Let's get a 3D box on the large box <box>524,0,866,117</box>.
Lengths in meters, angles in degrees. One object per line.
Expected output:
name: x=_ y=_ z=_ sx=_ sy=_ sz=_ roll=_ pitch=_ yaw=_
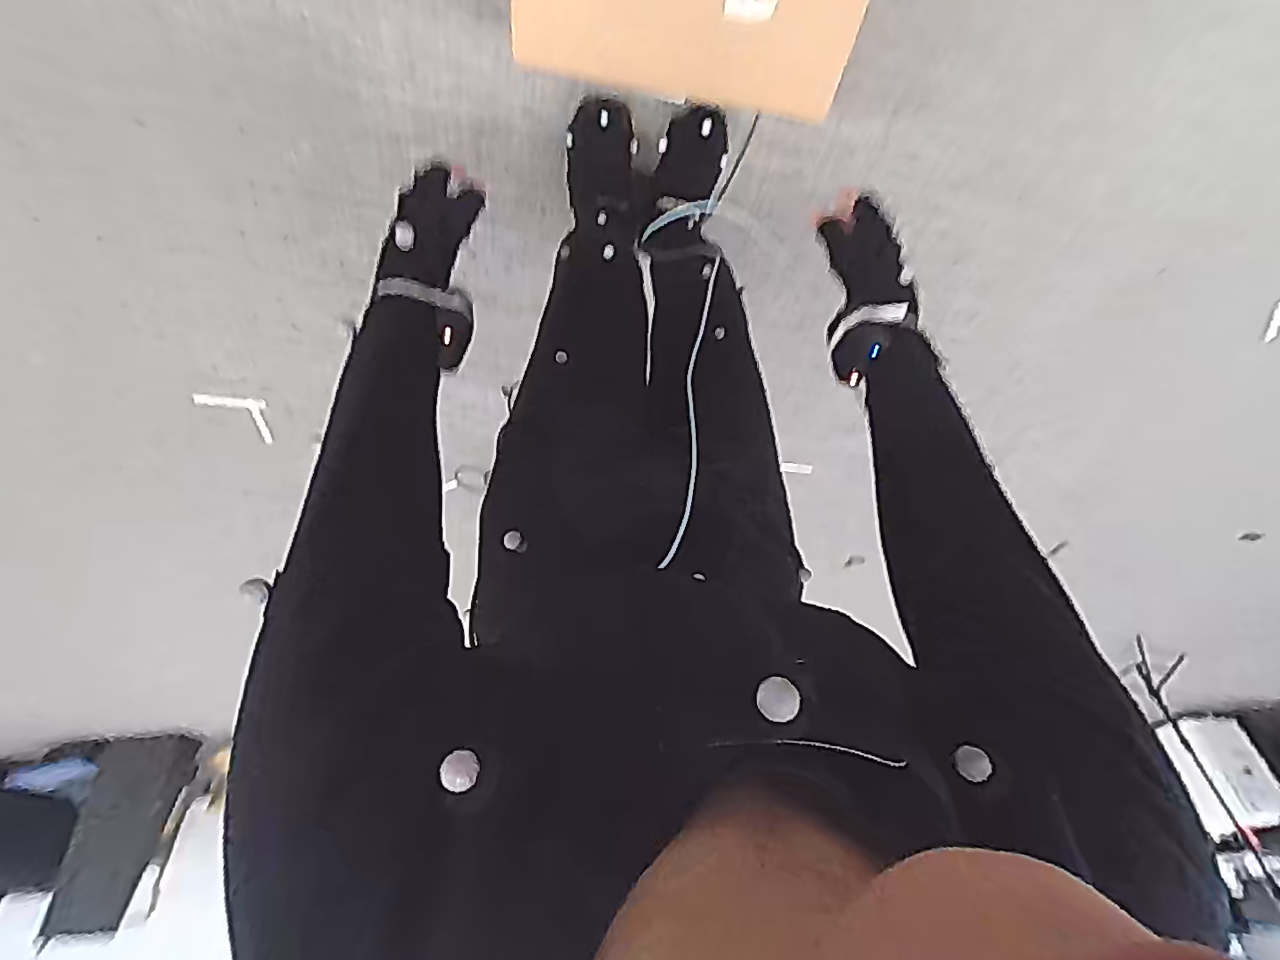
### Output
large box: x=0.069 y=-0.709 z=0.682 sx=0.408 sy=0.320 sz=0.320 roll=5 pitch=139 yaw=-9
